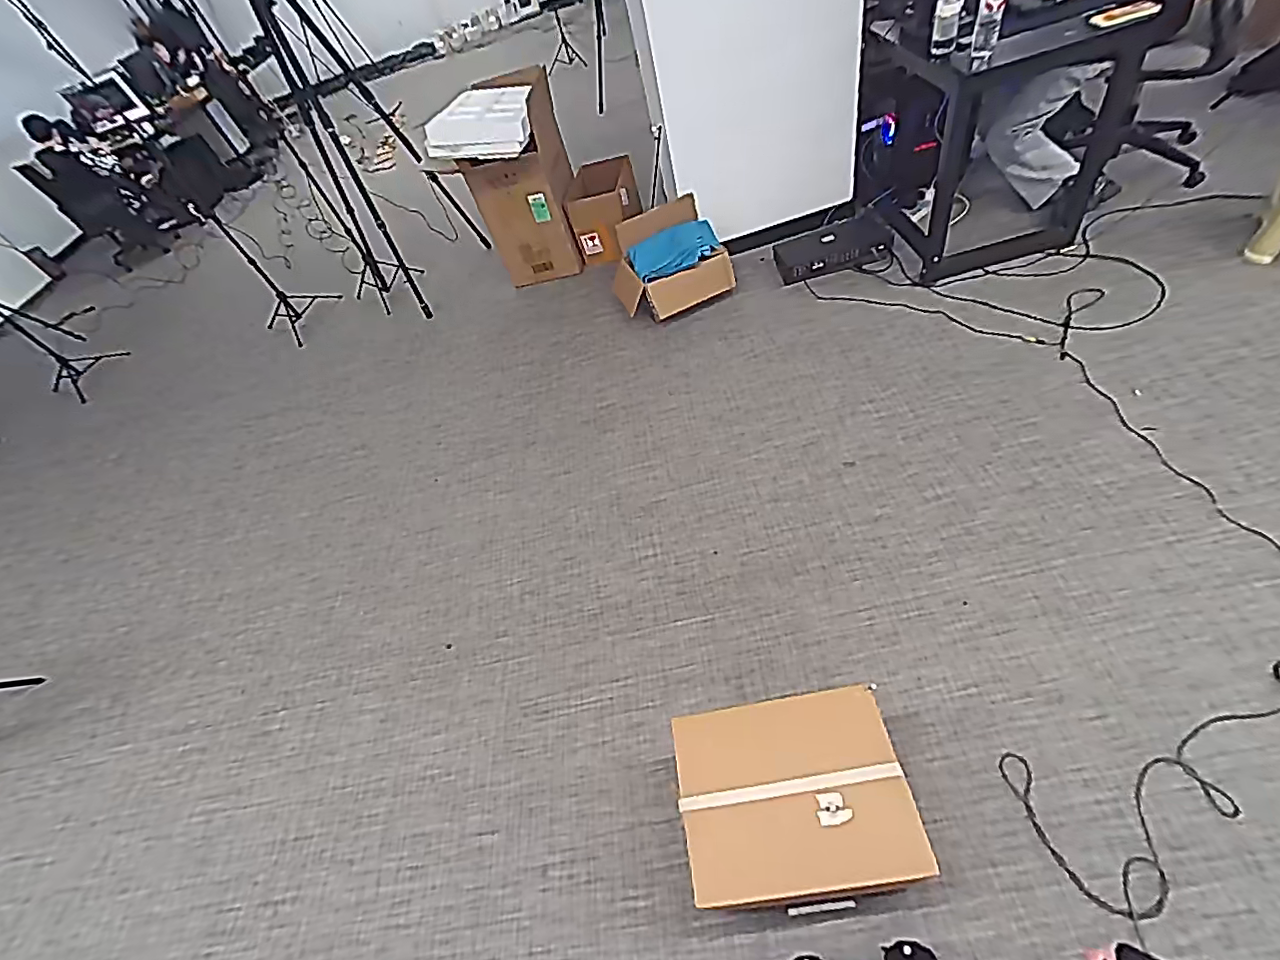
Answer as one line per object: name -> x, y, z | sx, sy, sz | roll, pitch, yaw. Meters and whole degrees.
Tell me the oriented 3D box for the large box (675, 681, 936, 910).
large box -> 0.311, 0.653, 1.107 | 0.408, 0.320, 0.320 | -13, 50, 6
